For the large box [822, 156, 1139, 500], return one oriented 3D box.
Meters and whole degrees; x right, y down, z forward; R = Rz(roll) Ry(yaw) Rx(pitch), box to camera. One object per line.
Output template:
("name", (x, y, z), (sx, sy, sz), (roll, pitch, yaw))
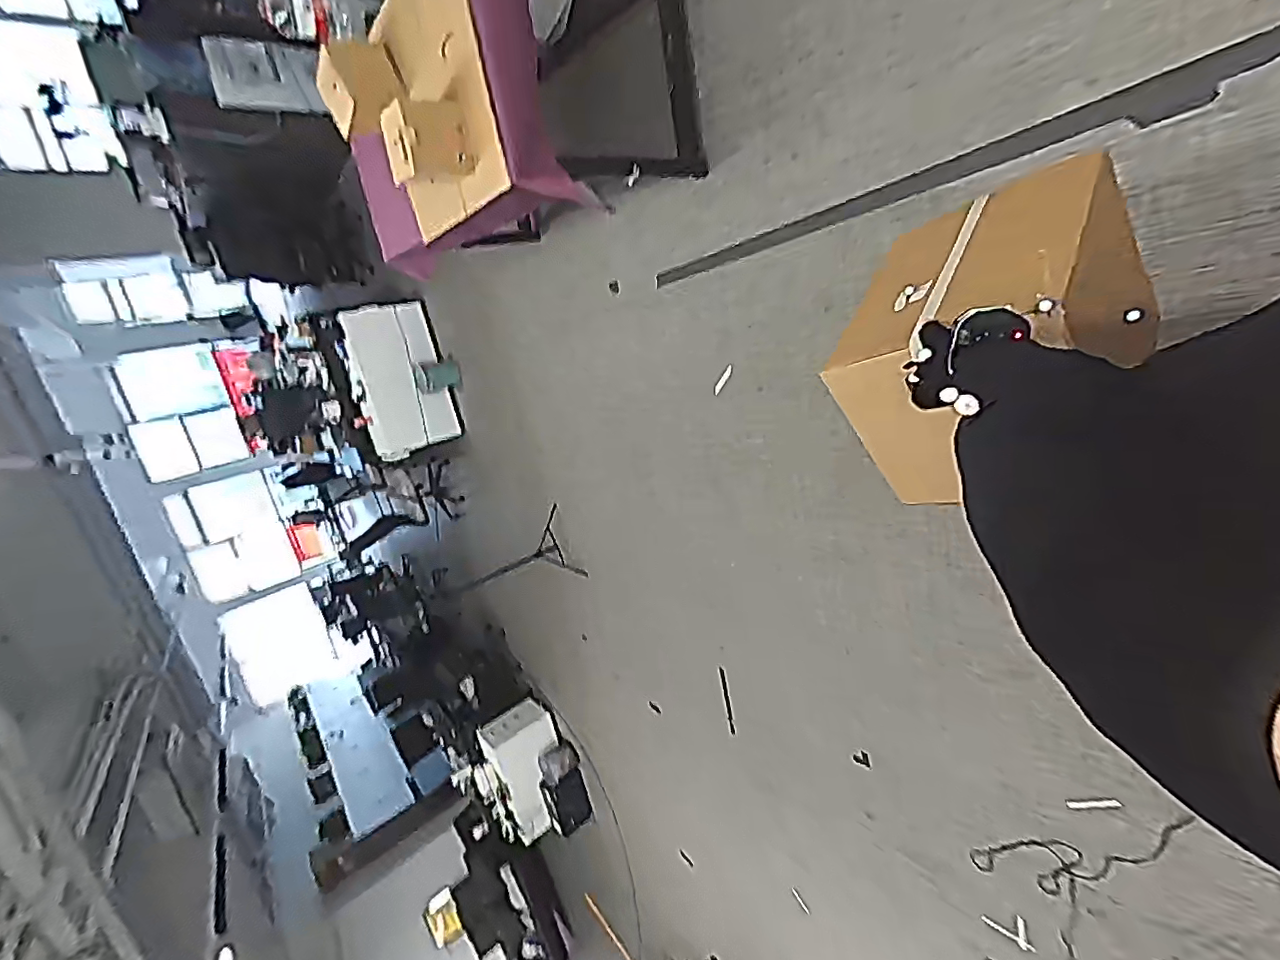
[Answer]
("large box", (0.563, -0.220, 0.875), (0.320, 0.408, 0.320), (48, 150, -23))
